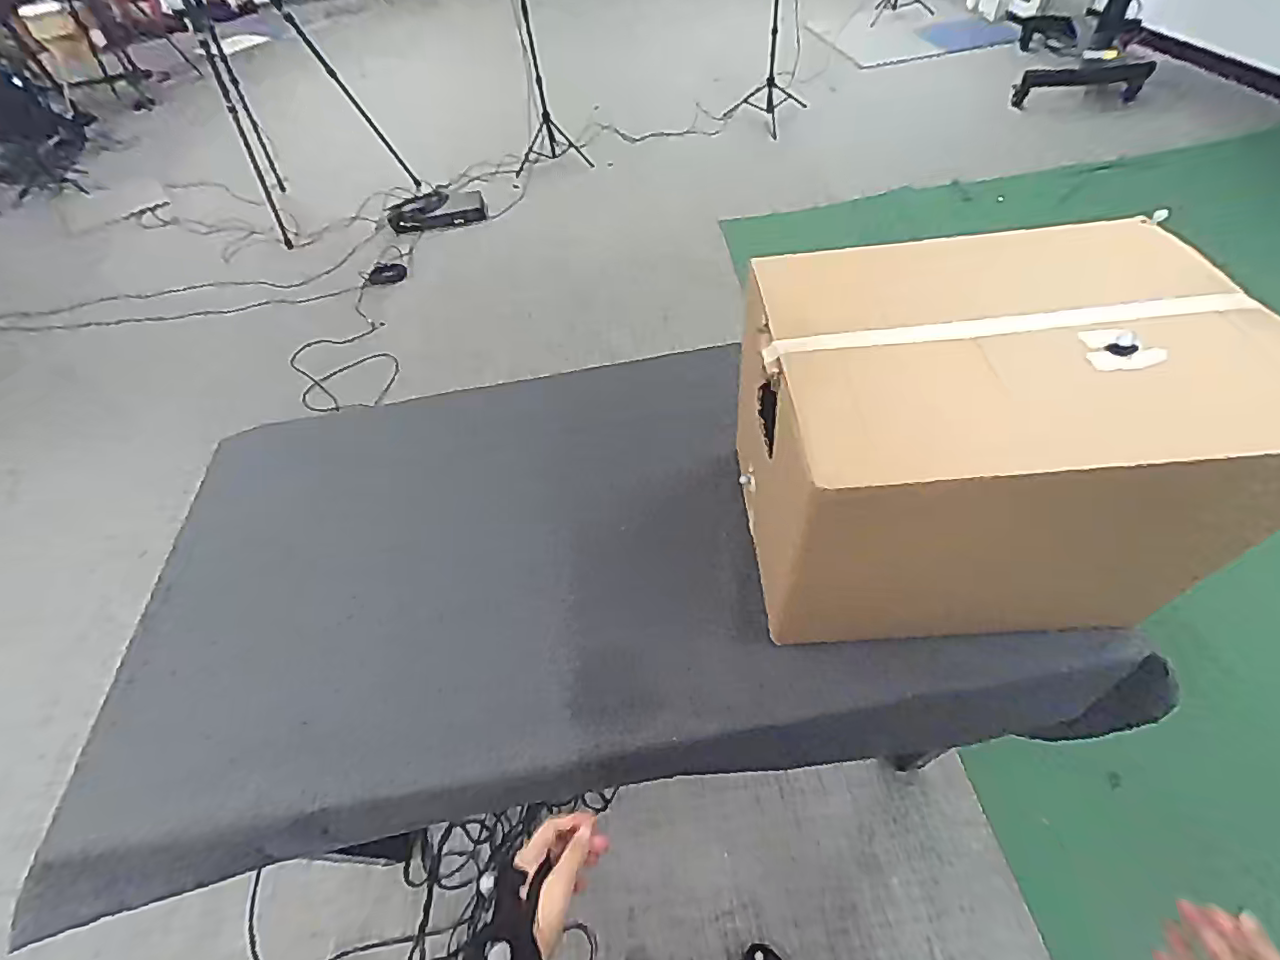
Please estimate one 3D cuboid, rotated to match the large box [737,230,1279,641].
[{"bbox_3d":[0.336,-0.036,0.595,0.408,0.320,0.320,-4,52,3],"label":"large box"}]
